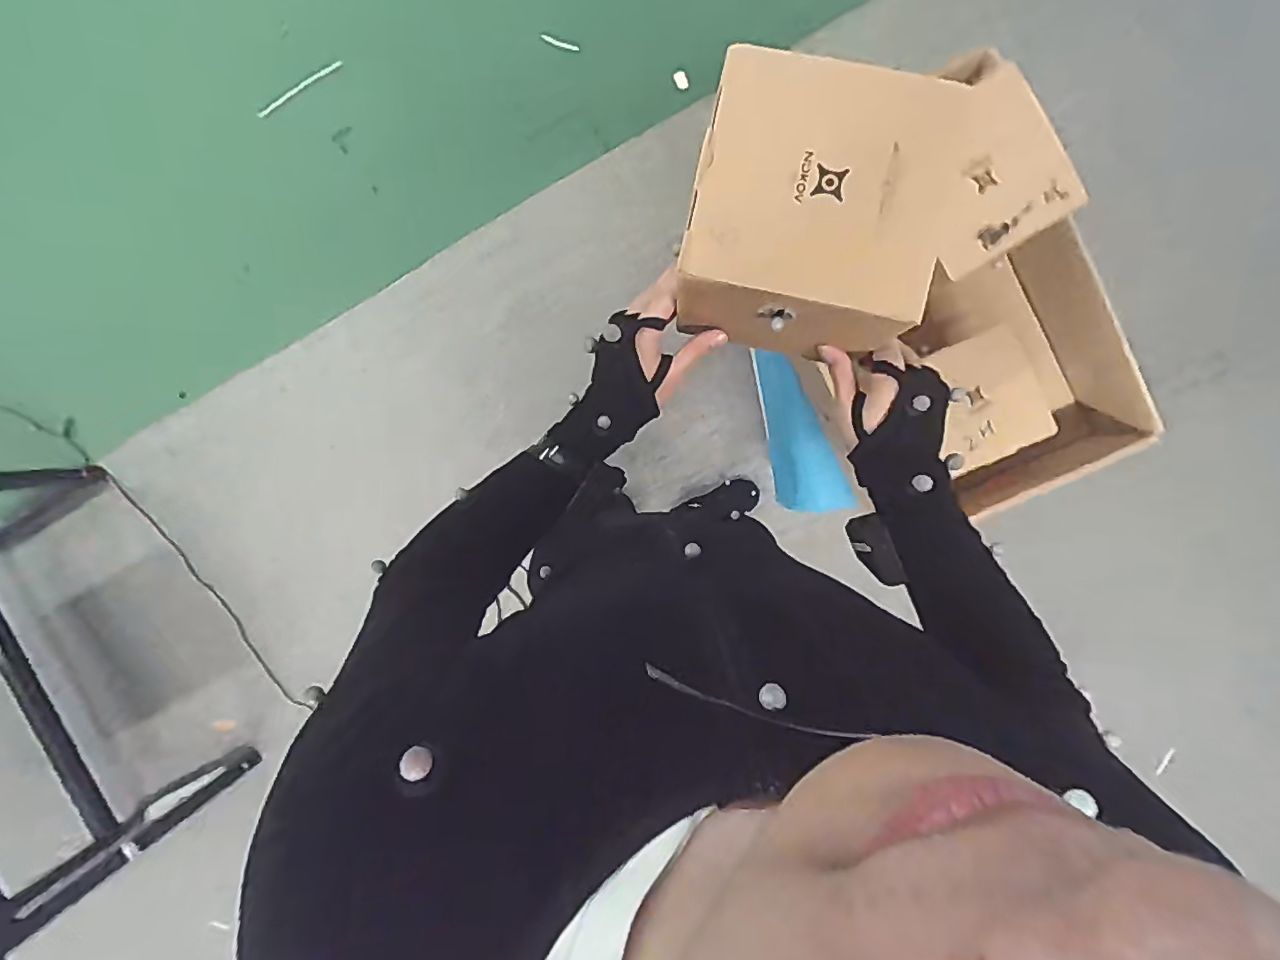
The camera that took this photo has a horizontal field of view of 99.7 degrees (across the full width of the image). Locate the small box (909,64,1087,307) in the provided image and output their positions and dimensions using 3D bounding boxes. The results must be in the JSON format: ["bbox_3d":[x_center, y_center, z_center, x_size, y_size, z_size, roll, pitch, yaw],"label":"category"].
[{"bbox_3d":[0.379,-0.342,0.671,0.168,0.176,0.179,-30,92,7],"label":"small box"}]

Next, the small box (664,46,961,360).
[{"bbox_3d":[0.124,-0.209,0.457,0.179,0.176,0.168,13,92,3],"label":"small box"}]
